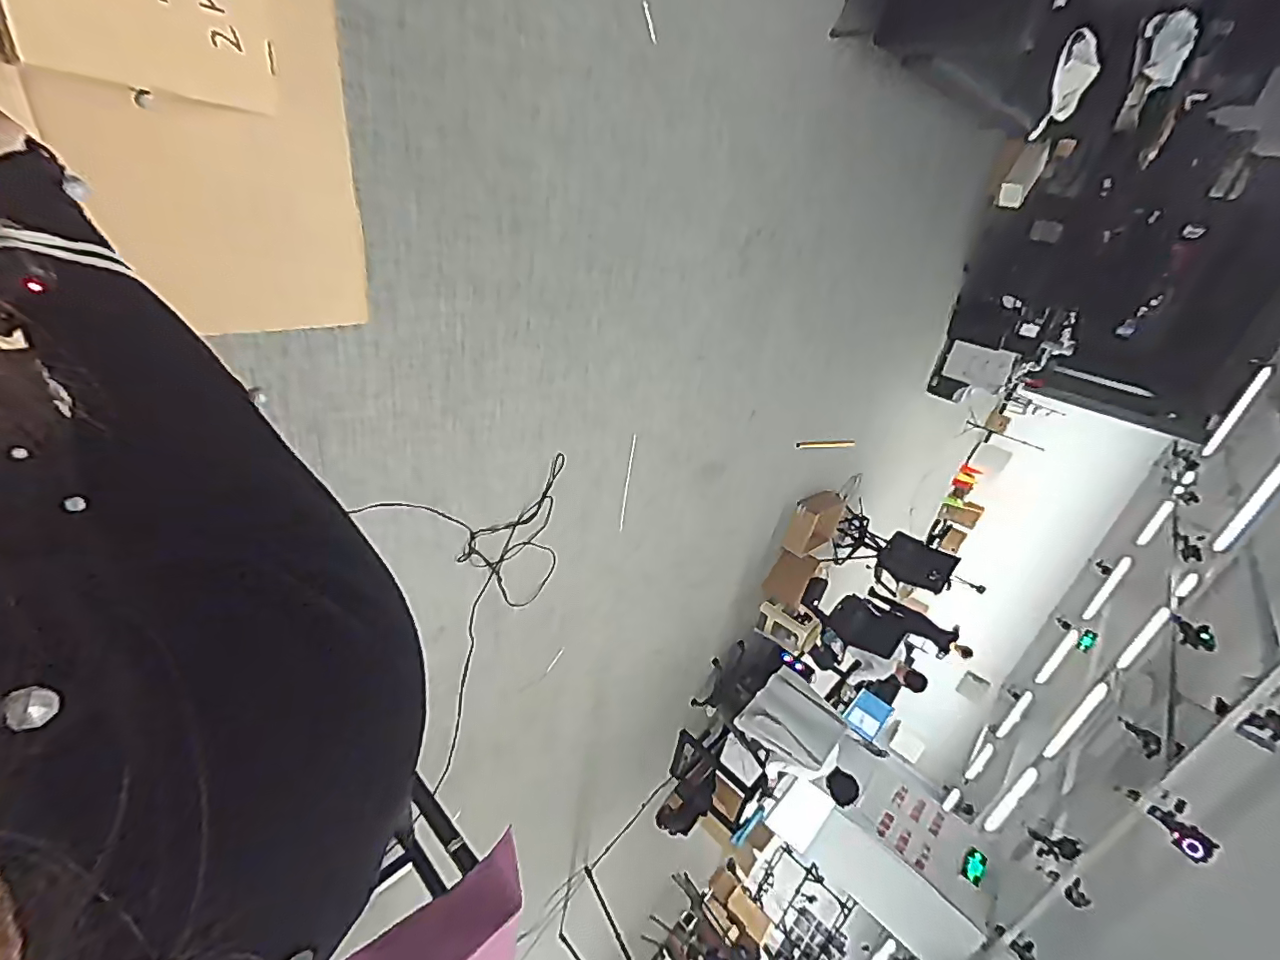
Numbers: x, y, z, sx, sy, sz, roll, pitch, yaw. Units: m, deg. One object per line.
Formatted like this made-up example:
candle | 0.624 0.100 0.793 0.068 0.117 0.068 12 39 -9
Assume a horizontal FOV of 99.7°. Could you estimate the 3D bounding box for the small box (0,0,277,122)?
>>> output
small box | -0.457 -0.433 0.480 0.179 0.176 0.168 -18 128 -43
